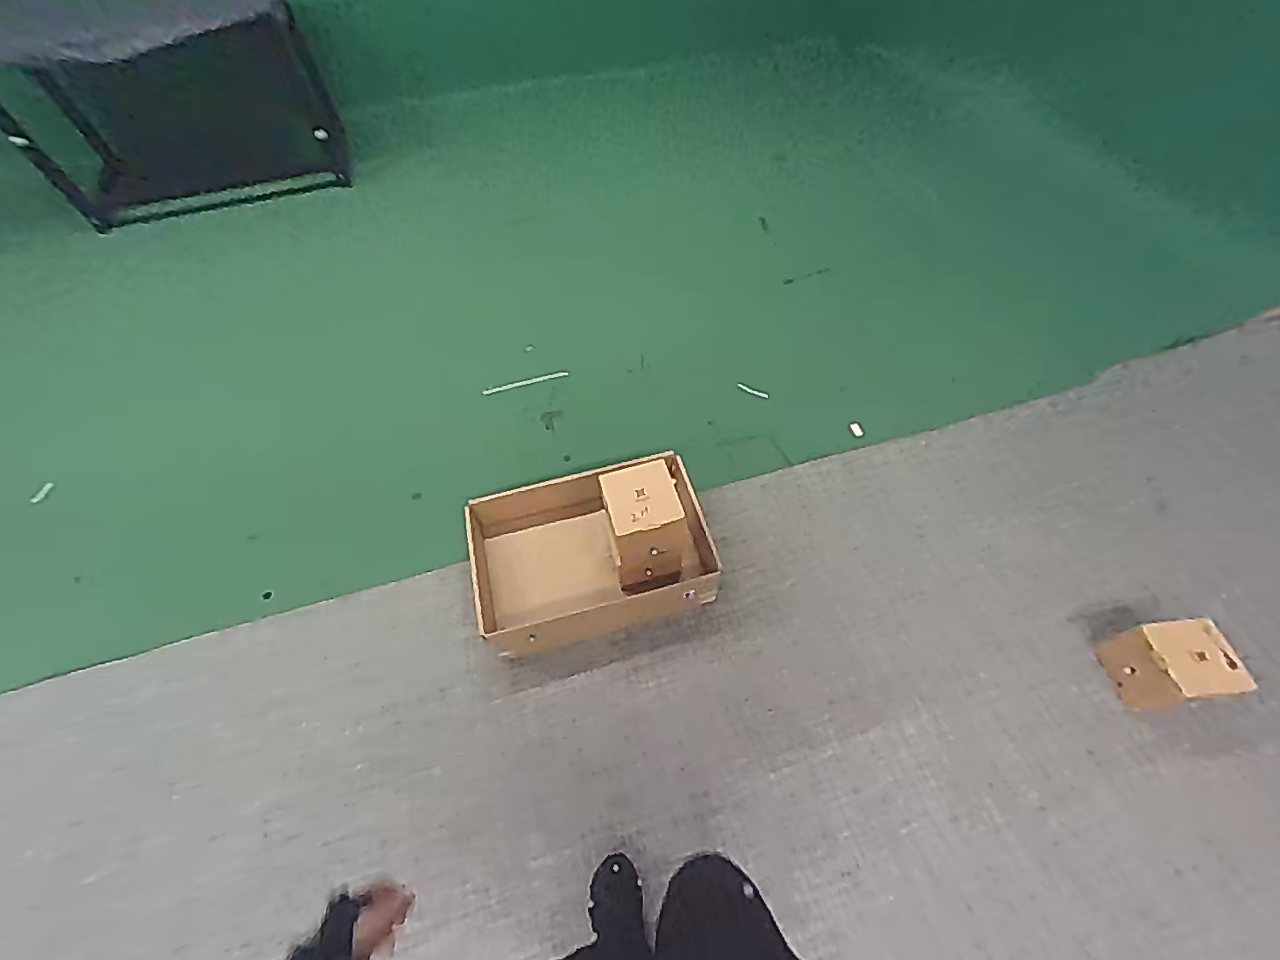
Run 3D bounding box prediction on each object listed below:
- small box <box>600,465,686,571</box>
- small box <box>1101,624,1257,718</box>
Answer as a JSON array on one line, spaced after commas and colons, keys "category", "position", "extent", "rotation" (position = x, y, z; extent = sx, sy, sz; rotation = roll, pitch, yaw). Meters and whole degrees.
[{"category": "small box", "position": [0.005, 0.094, 1.309], "extent": [0.168, 0.176, 0.179], "rotation": [-15, 58, -6]}, {"category": "small box", "position": [1.255, 0.457, 1.284], "extent": [0.179, 0.176, 0.168], "rotation": [-6, 56, -1]}]
